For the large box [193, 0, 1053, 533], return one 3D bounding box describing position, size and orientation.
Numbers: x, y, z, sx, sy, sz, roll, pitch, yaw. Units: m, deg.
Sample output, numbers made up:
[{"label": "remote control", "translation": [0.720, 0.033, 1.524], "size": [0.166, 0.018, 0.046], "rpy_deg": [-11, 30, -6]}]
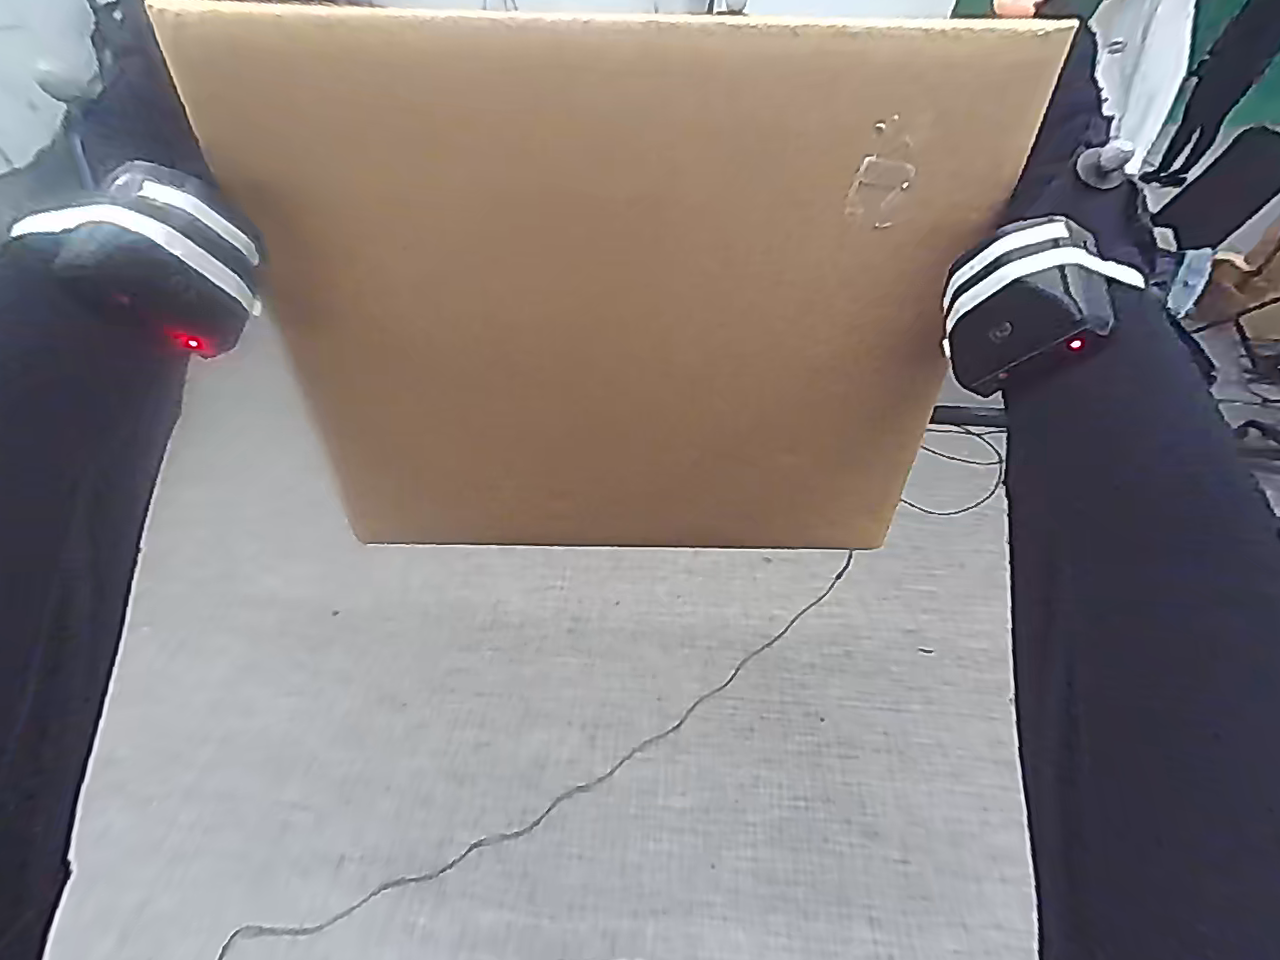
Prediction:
[{"label": "large box", "translation": [-0.011, -0.167, 0.451], "size": [0.408, 0.320, 0.320], "rpy_deg": [2, 36, -1]}]
